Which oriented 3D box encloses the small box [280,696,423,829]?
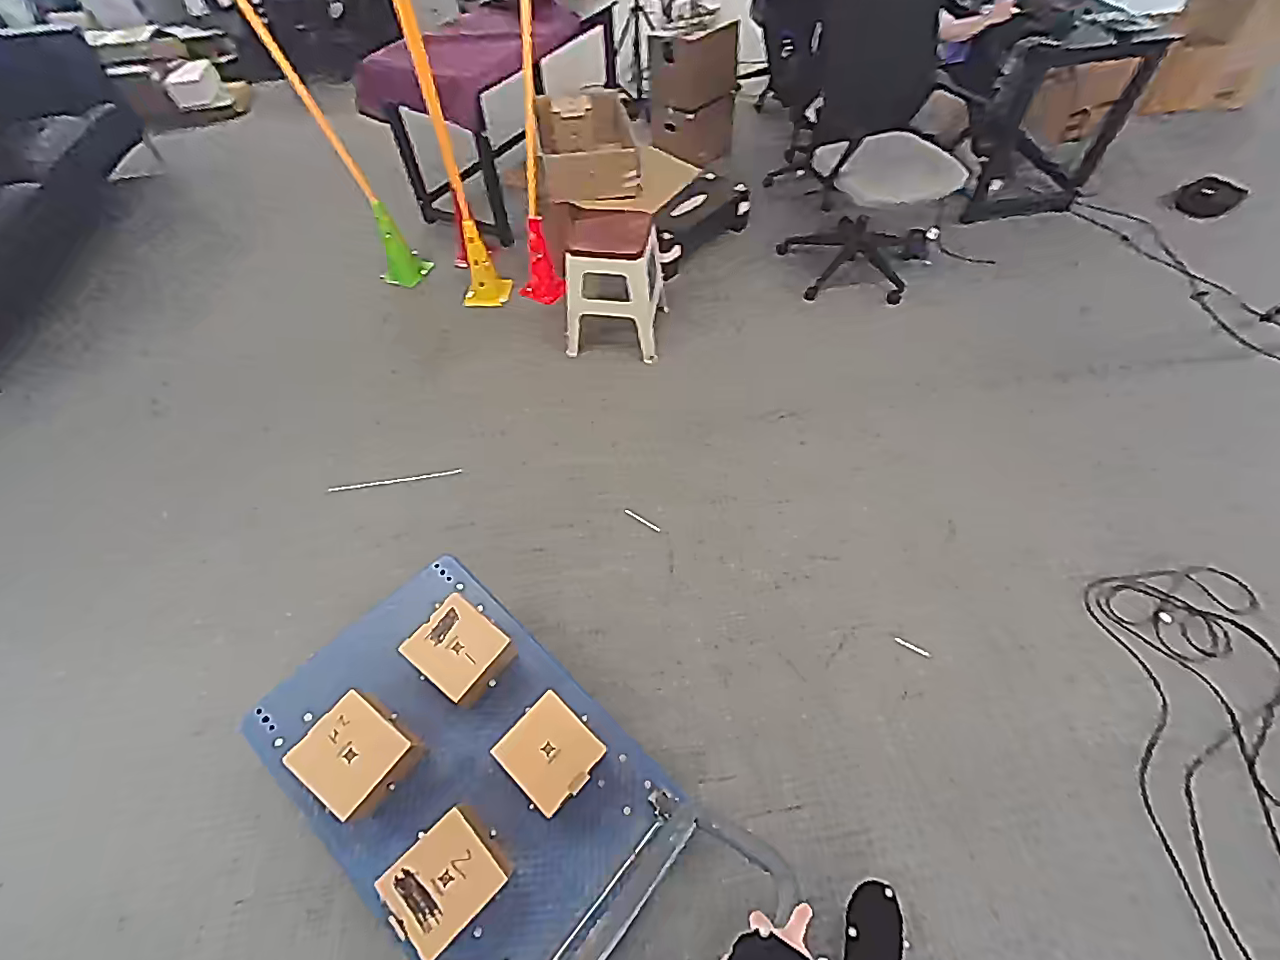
[{"bbox_3d":[-0.576,0.572,1.108,0.179,0.176,0.168,36,62,11],"label":"small box"}]

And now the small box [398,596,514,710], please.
[{"bbox_3d":[-0.408,0.399,1.226,0.179,0.176,0.168,37,64,11],"label":"small box"}]

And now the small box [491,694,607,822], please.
[{"bbox_3d":[-0.193,0.592,1.156,0.179,0.176,0.168,42,64,13],"label":"small box"}]
